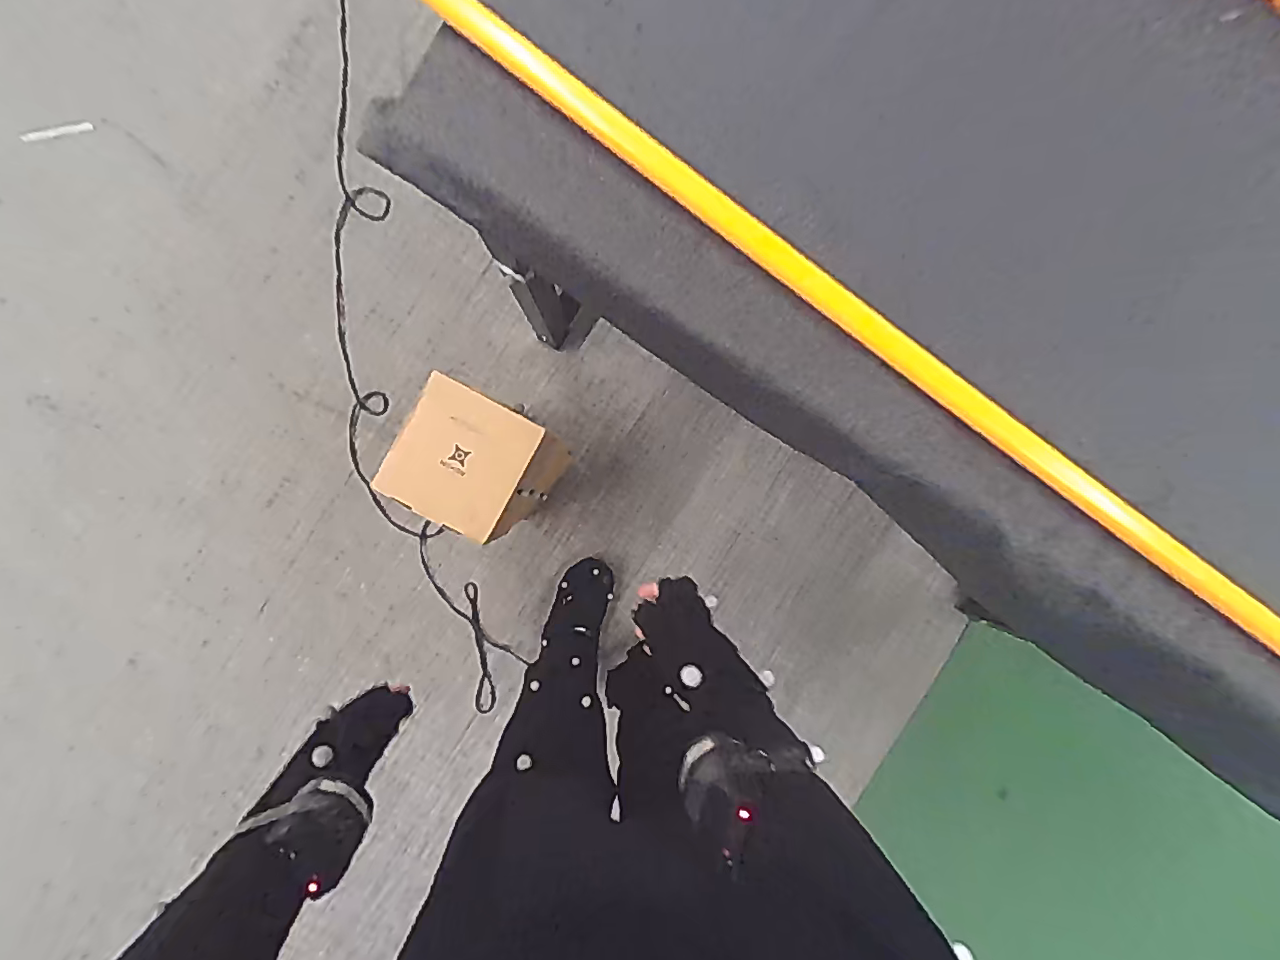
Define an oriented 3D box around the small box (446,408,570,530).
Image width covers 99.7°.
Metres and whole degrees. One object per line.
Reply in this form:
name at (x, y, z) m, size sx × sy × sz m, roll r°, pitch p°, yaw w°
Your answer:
small box at (-0.256, -0.023, 1.102) m, size 0.168 × 0.176 × 0.179 m, roll 41°, pitch 89°, yaw -2°
